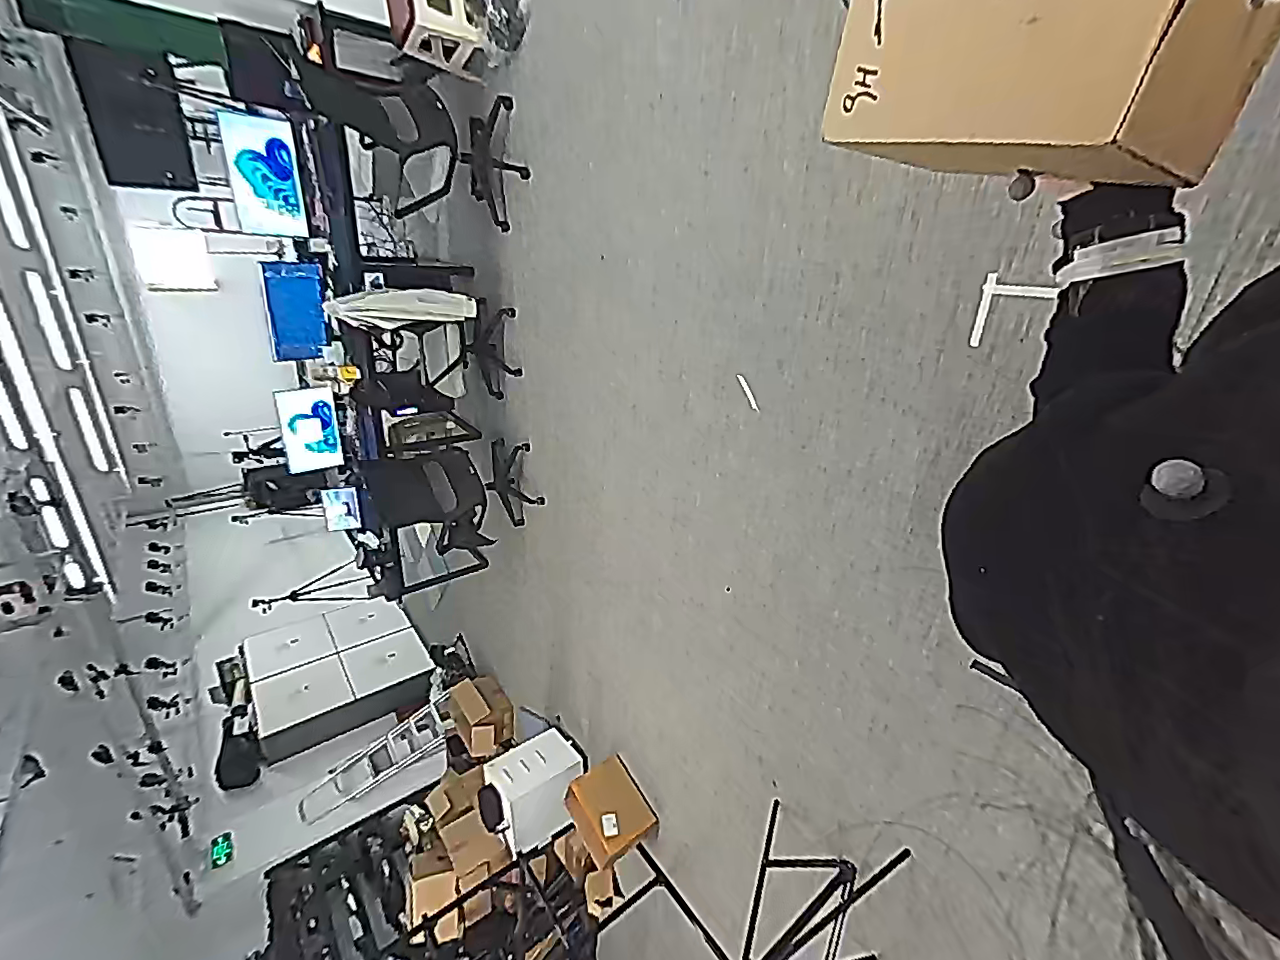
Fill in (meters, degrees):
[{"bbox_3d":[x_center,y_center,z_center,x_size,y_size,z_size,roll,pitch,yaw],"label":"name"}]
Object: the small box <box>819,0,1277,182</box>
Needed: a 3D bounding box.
[{"bbox_3d":[0.245,-0.280,0.317,0.179,0.176,0.168,37,130,43],"label":"small box"}]
